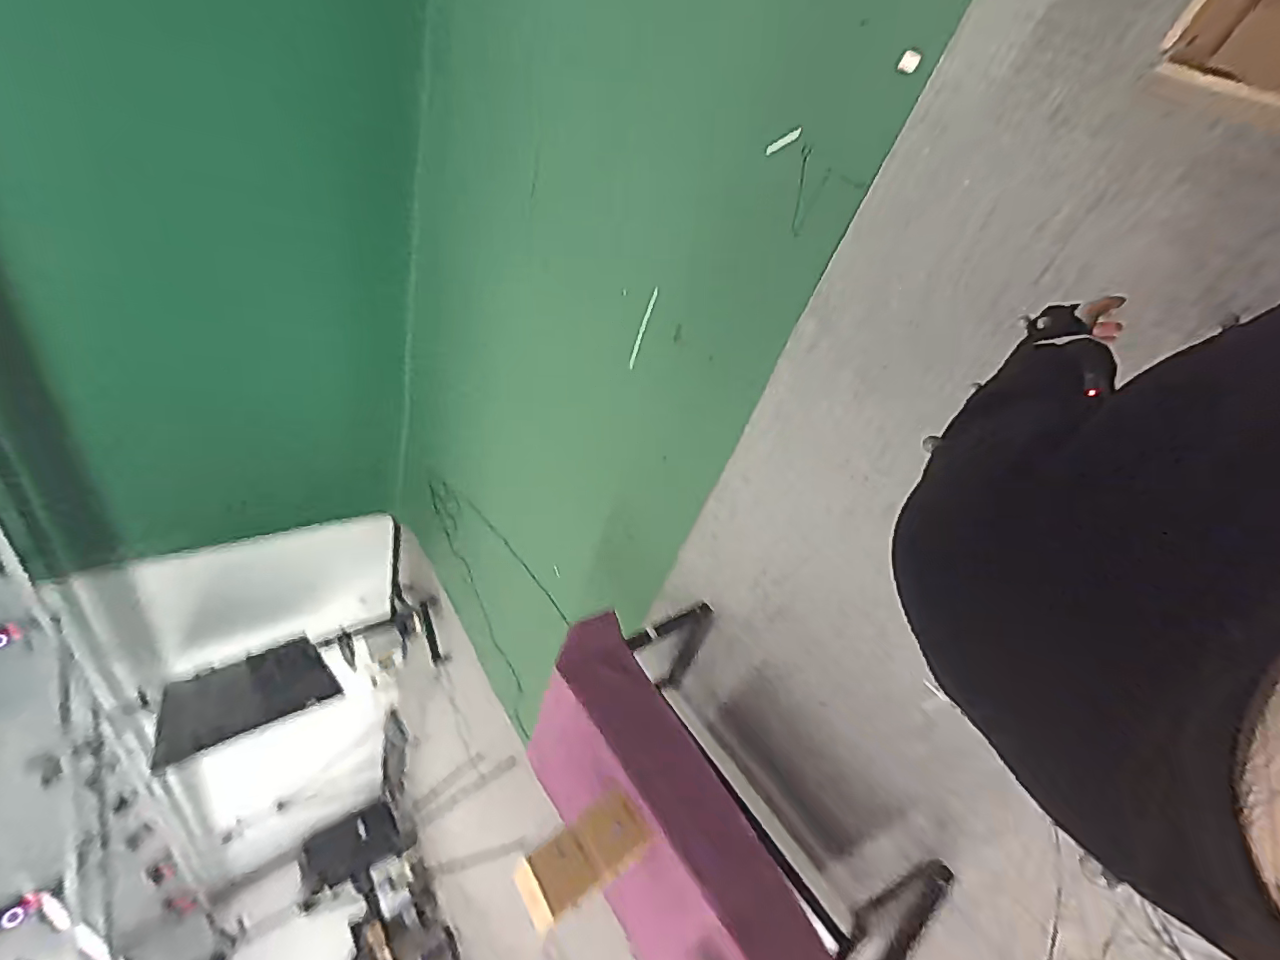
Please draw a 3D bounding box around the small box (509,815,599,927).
[{"bbox_3d":[-0.233,1.060,1.477,0.168,0.176,0.179,50,134,31],"label":"small box"}]

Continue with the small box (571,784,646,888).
[{"bbox_3d":[-0.106,1.030,1.576,0.168,0.176,0.179,48,133,32],"label":"small box"}]
